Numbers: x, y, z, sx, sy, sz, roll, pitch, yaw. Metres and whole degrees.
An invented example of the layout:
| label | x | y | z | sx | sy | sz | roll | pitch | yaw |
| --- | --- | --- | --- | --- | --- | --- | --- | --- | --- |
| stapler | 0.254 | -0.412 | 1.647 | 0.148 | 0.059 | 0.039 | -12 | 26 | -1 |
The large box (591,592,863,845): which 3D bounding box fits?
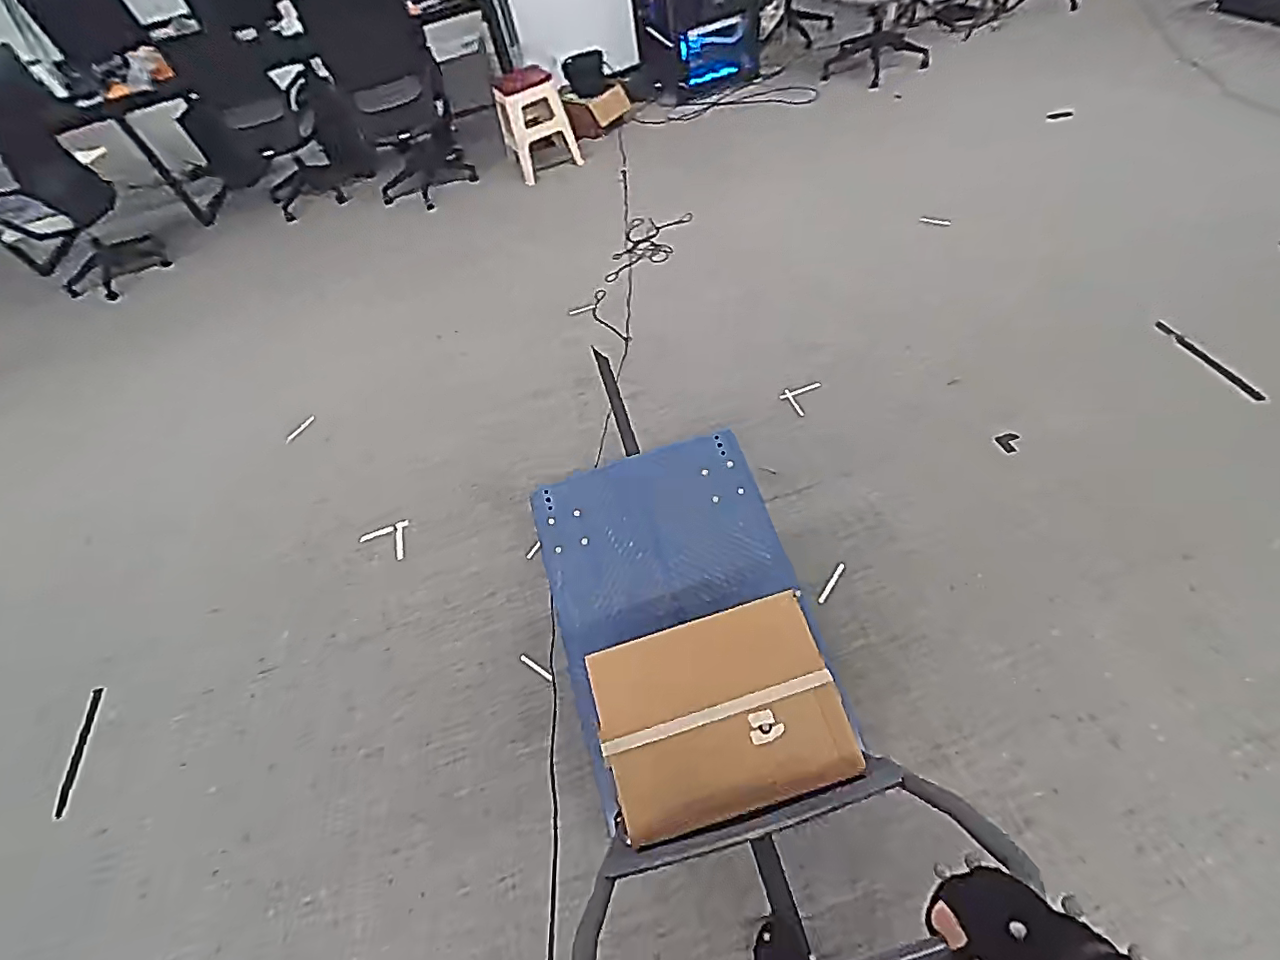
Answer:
| label | x | y | z | sx | sy | sz | roll | pitch | yaw |
| --- | --- | --- | --- | --- | --- | --- | --- | --- | --- |
| large box | 0.152 | 0.462 | 1.084 | 0.408 | 0.320 | 0.320 | -18 | 67 | -3 |
